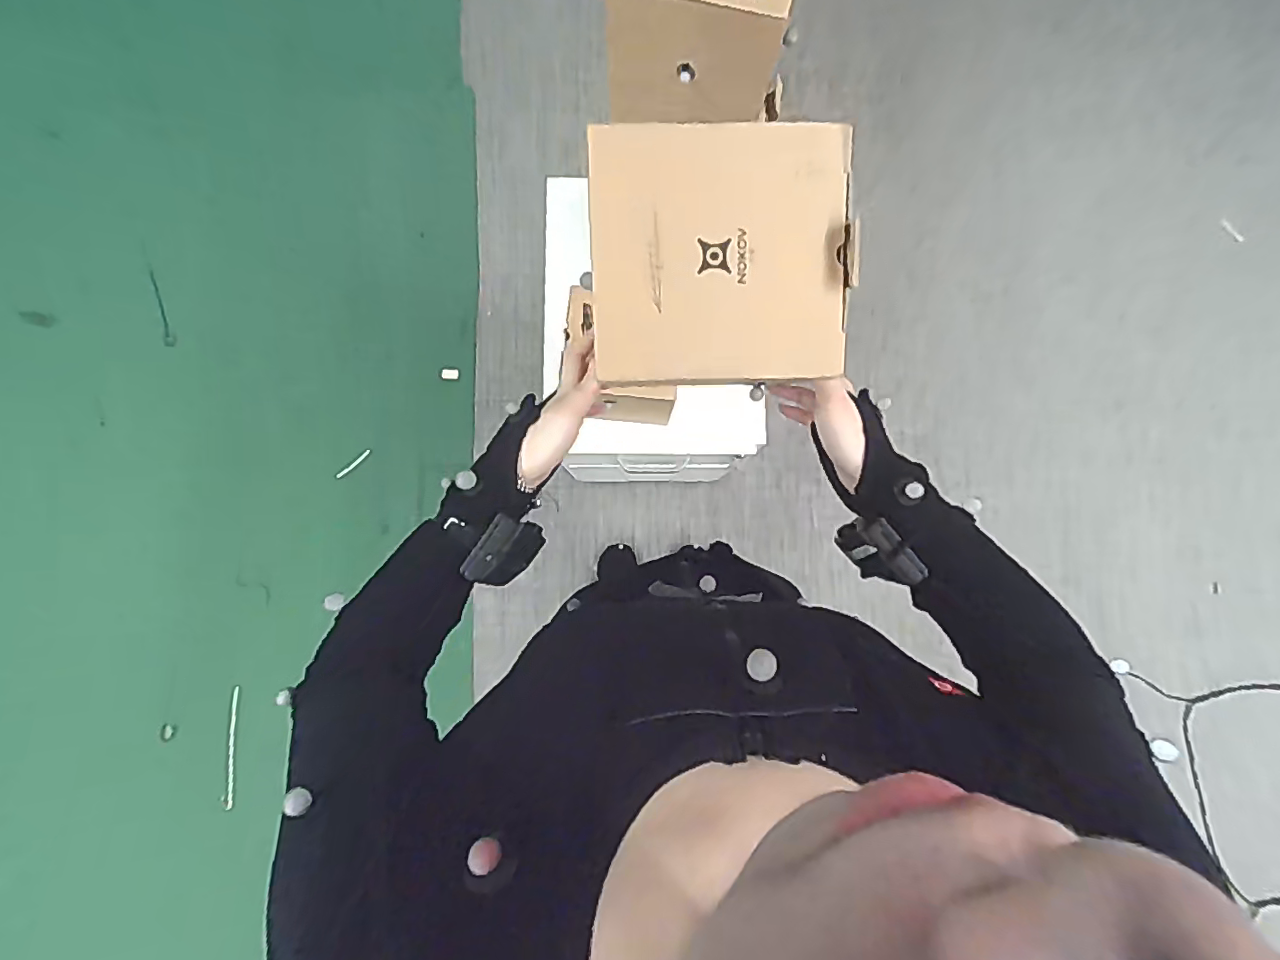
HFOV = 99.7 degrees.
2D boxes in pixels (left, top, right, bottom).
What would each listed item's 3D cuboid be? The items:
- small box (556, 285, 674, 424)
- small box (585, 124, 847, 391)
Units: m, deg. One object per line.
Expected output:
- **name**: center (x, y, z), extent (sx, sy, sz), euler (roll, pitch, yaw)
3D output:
- **small box**: center (-0.030, -0.194, 0.878), extent (0.179, 0.176, 0.168), euler (6, 83, -1)
- **small box**: center (0.050, -0.161, 0.443), extent (0.179, 0.176, 0.168), euler (-2, 97, 0)
